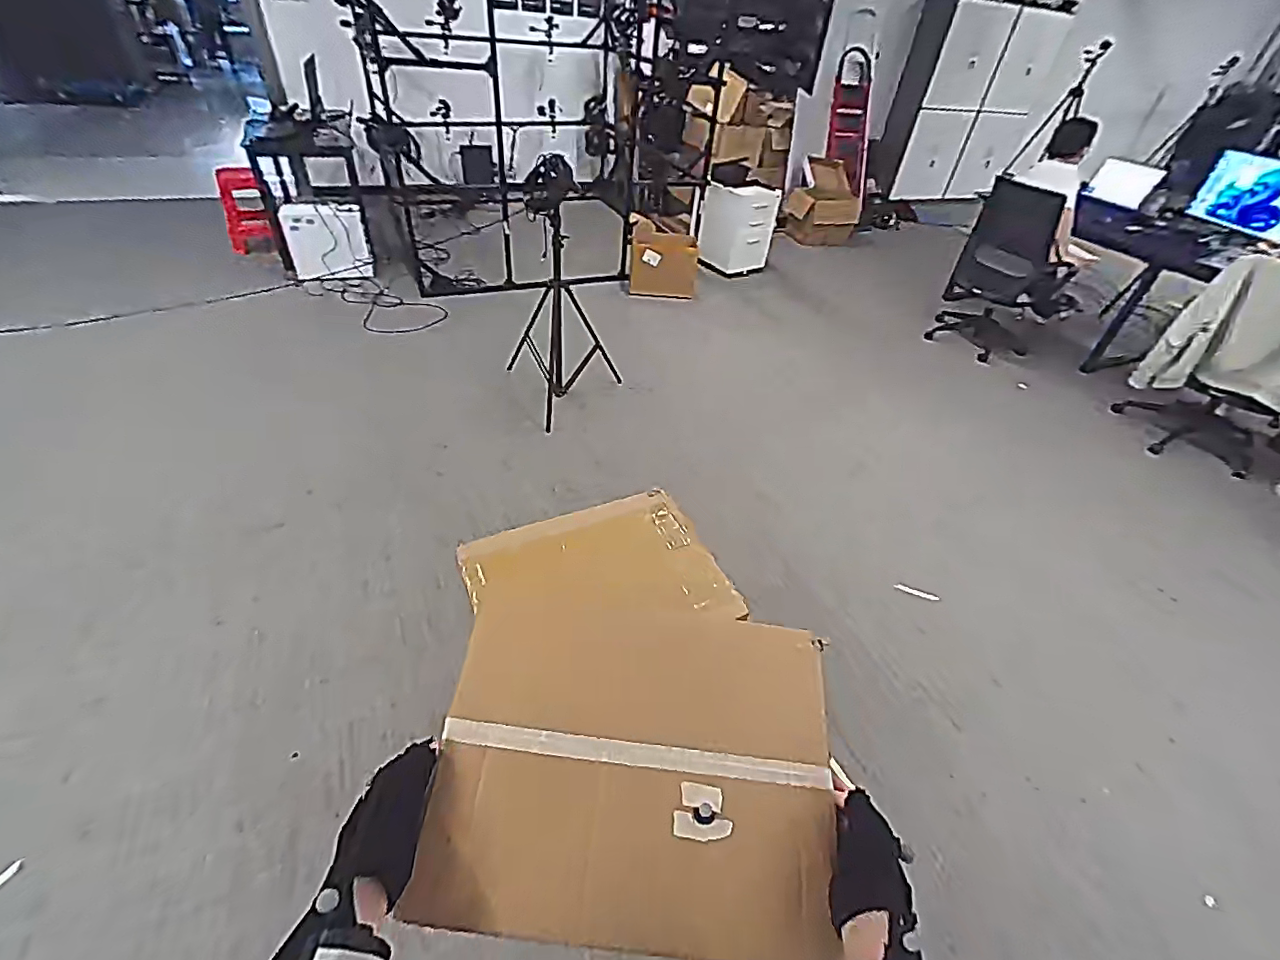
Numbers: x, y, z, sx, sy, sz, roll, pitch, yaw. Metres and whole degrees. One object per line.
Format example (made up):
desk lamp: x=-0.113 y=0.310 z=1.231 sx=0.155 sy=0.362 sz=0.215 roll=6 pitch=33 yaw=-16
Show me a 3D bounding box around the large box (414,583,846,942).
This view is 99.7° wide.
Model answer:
large box: x=-0.013 y=0.352 z=0.689 sx=0.408 sy=0.320 sz=0.320 roll=8 pitch=58 yaw=-3
